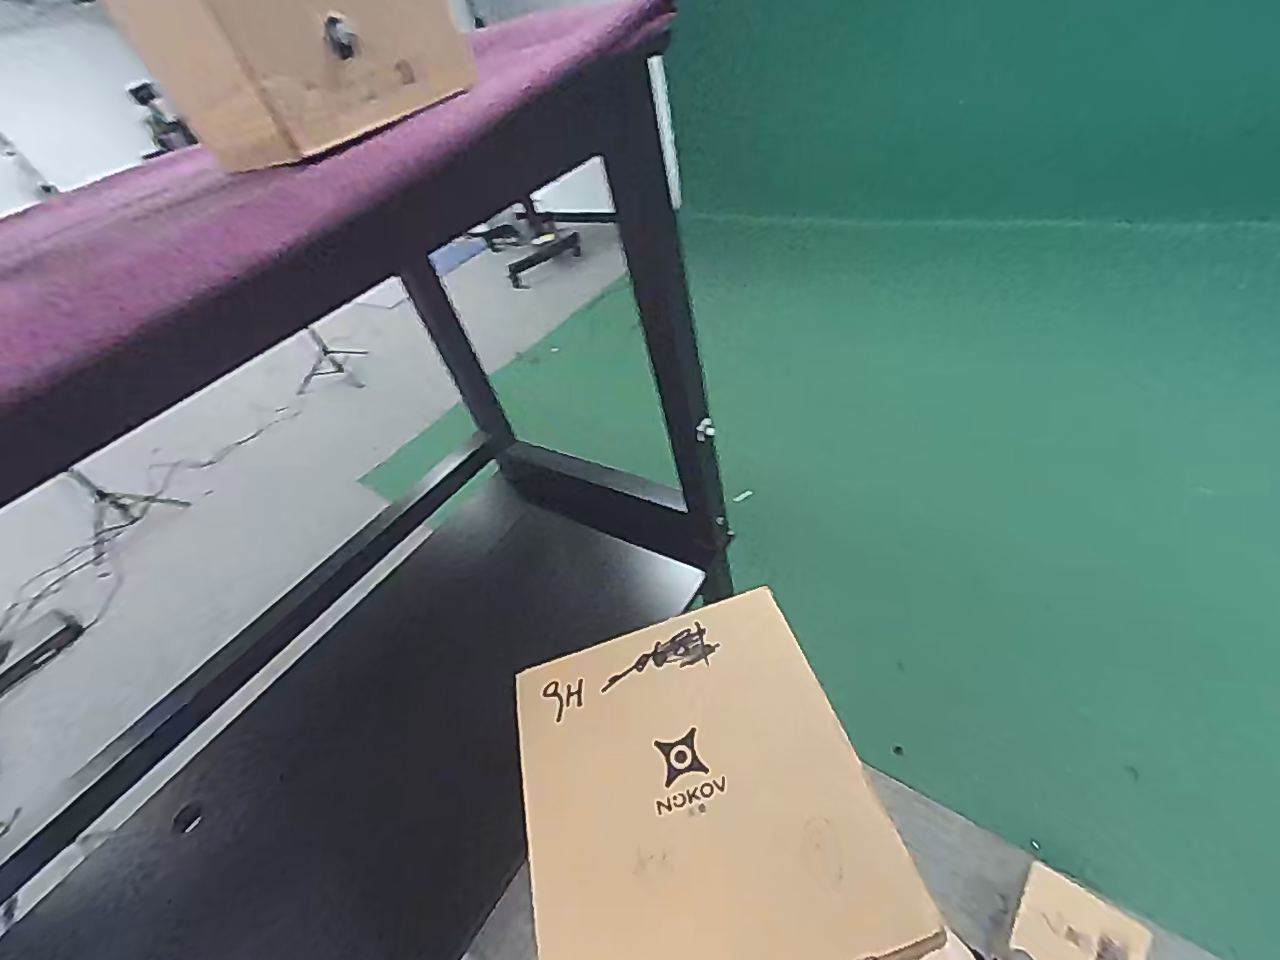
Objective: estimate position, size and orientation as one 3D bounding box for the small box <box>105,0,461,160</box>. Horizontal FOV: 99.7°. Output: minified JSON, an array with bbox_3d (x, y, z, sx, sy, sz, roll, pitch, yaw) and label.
[{"bbox_3d":[-0.271,-0.354,0.396,0.179,0.176,0.168,20,55,36],"label":"small box"}]
